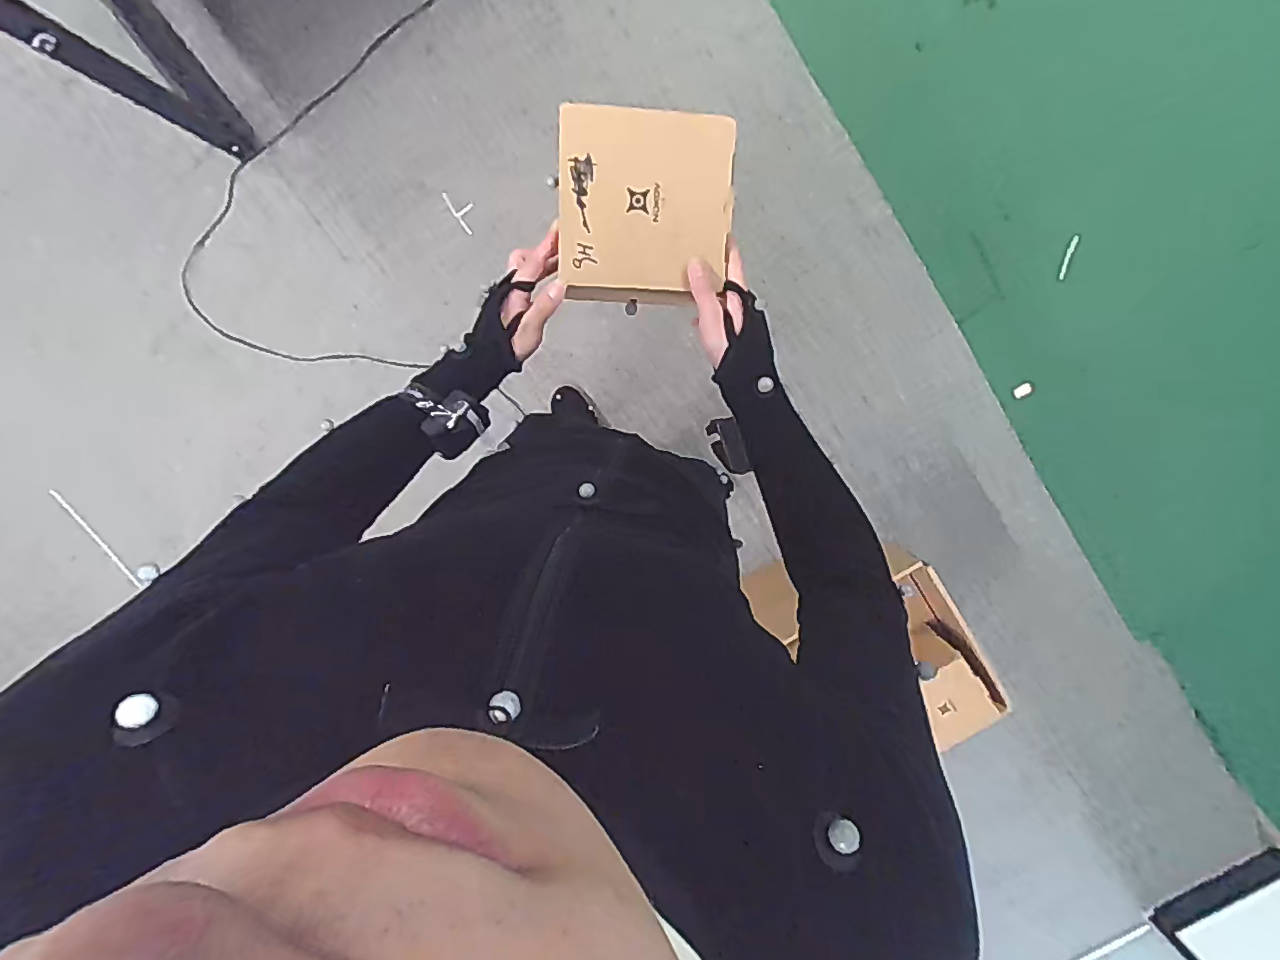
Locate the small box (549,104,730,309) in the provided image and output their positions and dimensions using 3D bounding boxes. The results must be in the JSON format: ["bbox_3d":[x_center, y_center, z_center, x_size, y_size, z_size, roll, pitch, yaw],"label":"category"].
[{"bbox_3d":[-0.011,-0.290,0.615,0.179,0.176,0.168,1,102,-8],"label":"small box"}]
